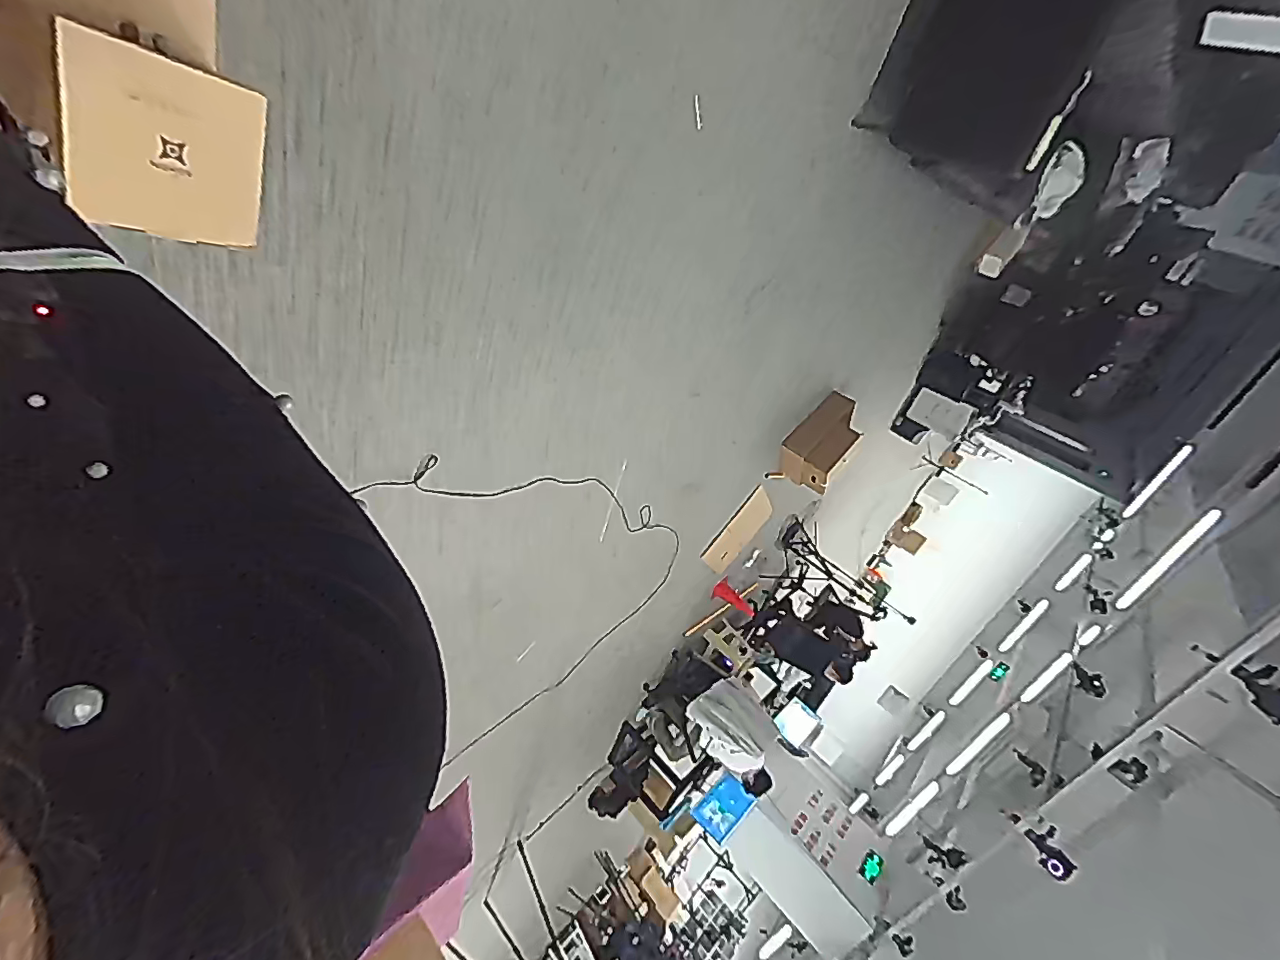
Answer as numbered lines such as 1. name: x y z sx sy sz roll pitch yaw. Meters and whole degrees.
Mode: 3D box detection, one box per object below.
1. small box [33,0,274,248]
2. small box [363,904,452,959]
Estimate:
1. small box: -0.543 -0.391 0.608 0.168 0.176 0.179 -11 130 -52
2. small box: -0.673 1.384 1.557 0.179 0.176 0.168 -17 136 -46
